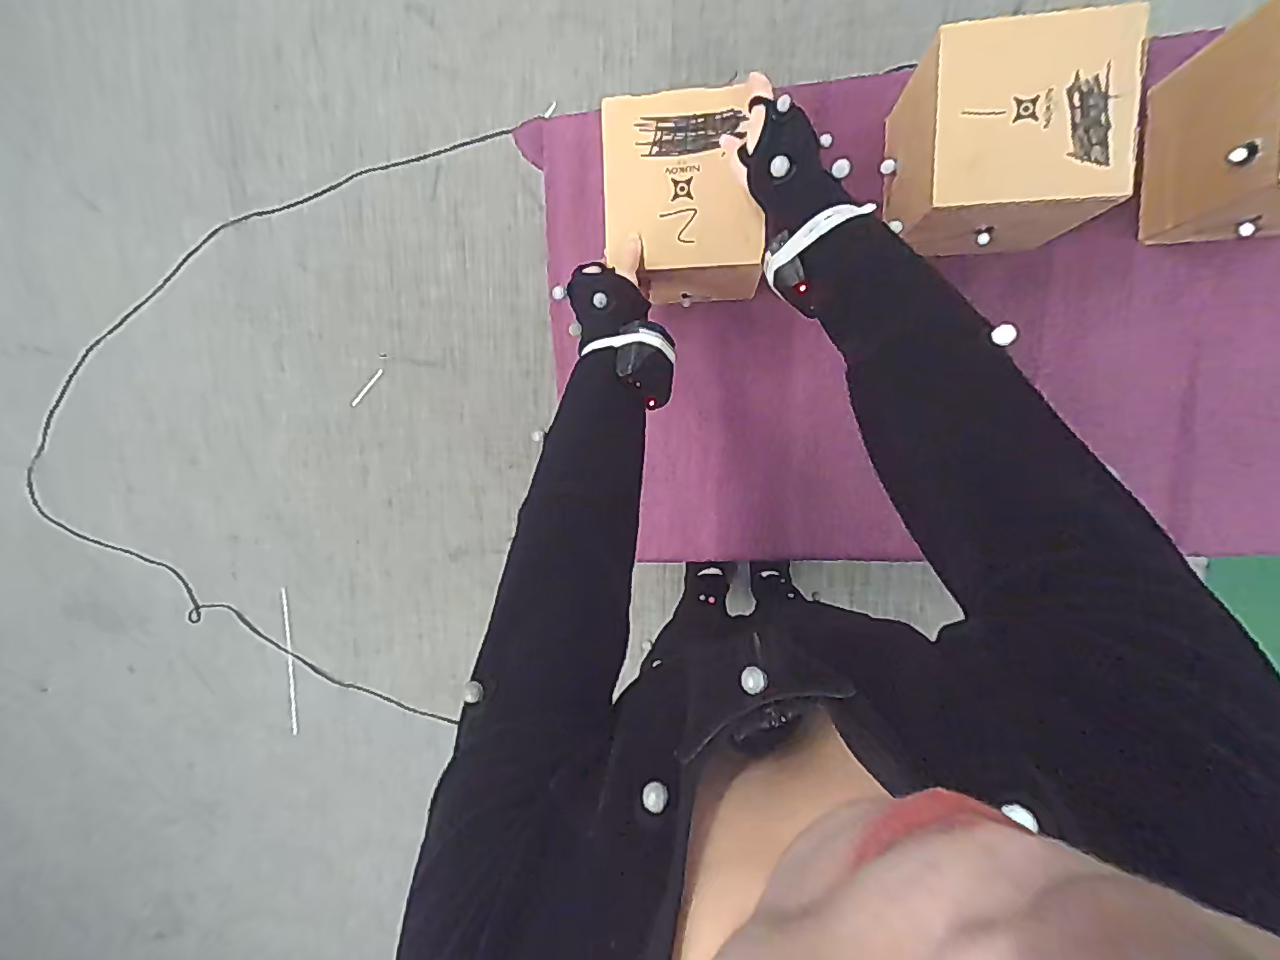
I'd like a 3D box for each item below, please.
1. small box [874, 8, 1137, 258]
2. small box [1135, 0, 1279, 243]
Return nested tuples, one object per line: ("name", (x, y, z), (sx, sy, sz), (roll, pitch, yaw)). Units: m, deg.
("small box", (0.370, -0.349, 0.581), (0.179, 0.176, 0.168), (0, 96, 9))
("small box", (0.649, -0.359, 0.541), (0.168, 0.176, 0.179), (-1, 97, 8))
